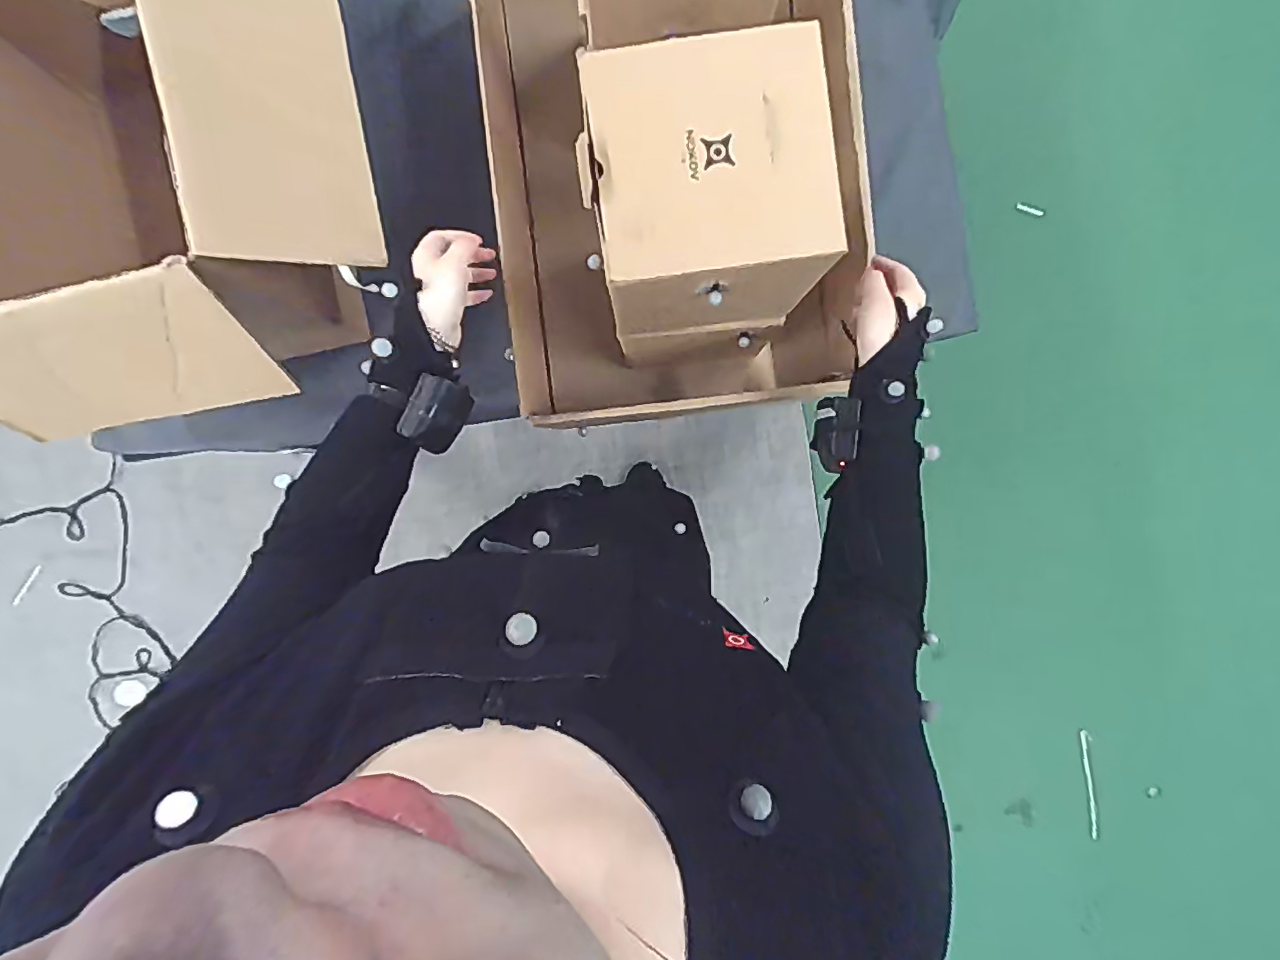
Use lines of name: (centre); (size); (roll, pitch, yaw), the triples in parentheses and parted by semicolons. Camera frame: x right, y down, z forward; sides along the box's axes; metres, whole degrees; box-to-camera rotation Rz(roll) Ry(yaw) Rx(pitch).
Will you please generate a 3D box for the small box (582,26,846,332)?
small box: (0.054, -0.236, 0.469); (0.179, 0.176, 0.168); (-8, 92, 0)
